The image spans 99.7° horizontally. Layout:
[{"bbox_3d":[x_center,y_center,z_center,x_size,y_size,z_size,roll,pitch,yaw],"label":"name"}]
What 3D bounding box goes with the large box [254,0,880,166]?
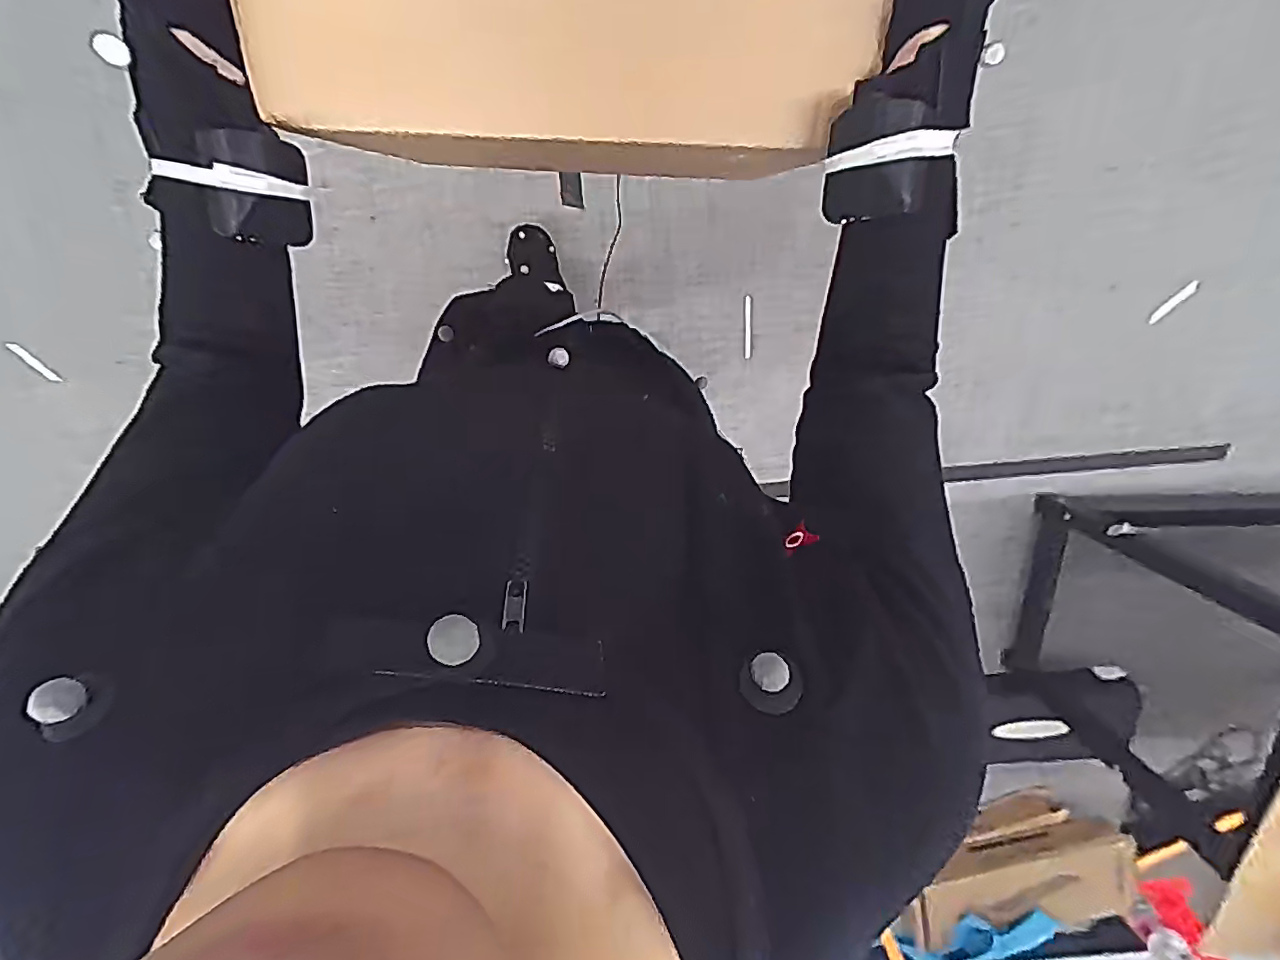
[{"bbox_3d":[-0.049,-0.446,0.438,0.408,0.320,0.320,0,117,-3],"label":"large box"}]
